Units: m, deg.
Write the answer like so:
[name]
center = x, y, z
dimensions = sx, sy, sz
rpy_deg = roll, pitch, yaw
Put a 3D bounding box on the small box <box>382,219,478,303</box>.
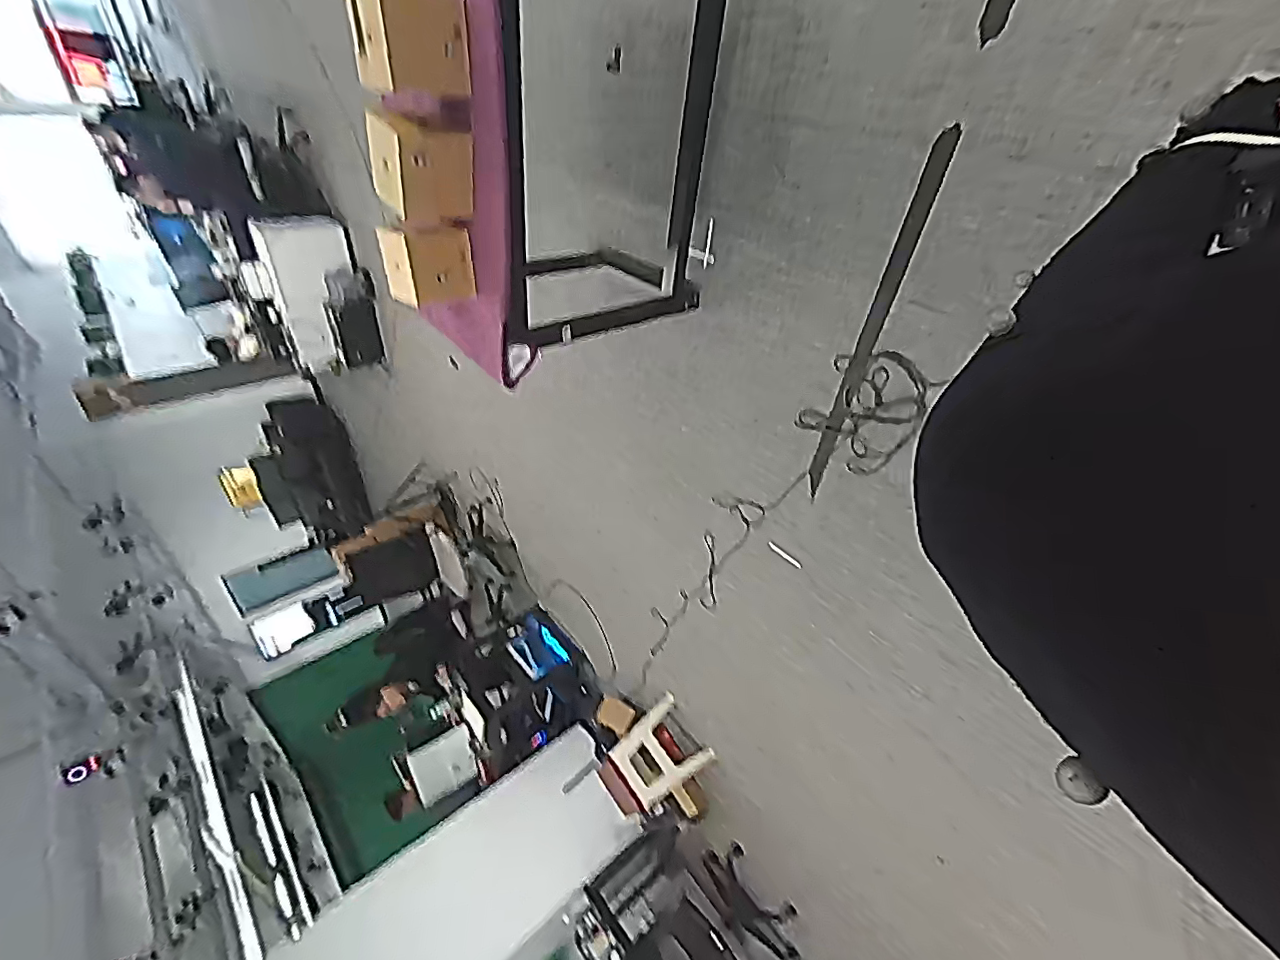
[small box]
center = -0.531, -0.571, 1.393
dimensions = 0.179, 0.176, 0.168
rpy_deg = 31, 133, 39
